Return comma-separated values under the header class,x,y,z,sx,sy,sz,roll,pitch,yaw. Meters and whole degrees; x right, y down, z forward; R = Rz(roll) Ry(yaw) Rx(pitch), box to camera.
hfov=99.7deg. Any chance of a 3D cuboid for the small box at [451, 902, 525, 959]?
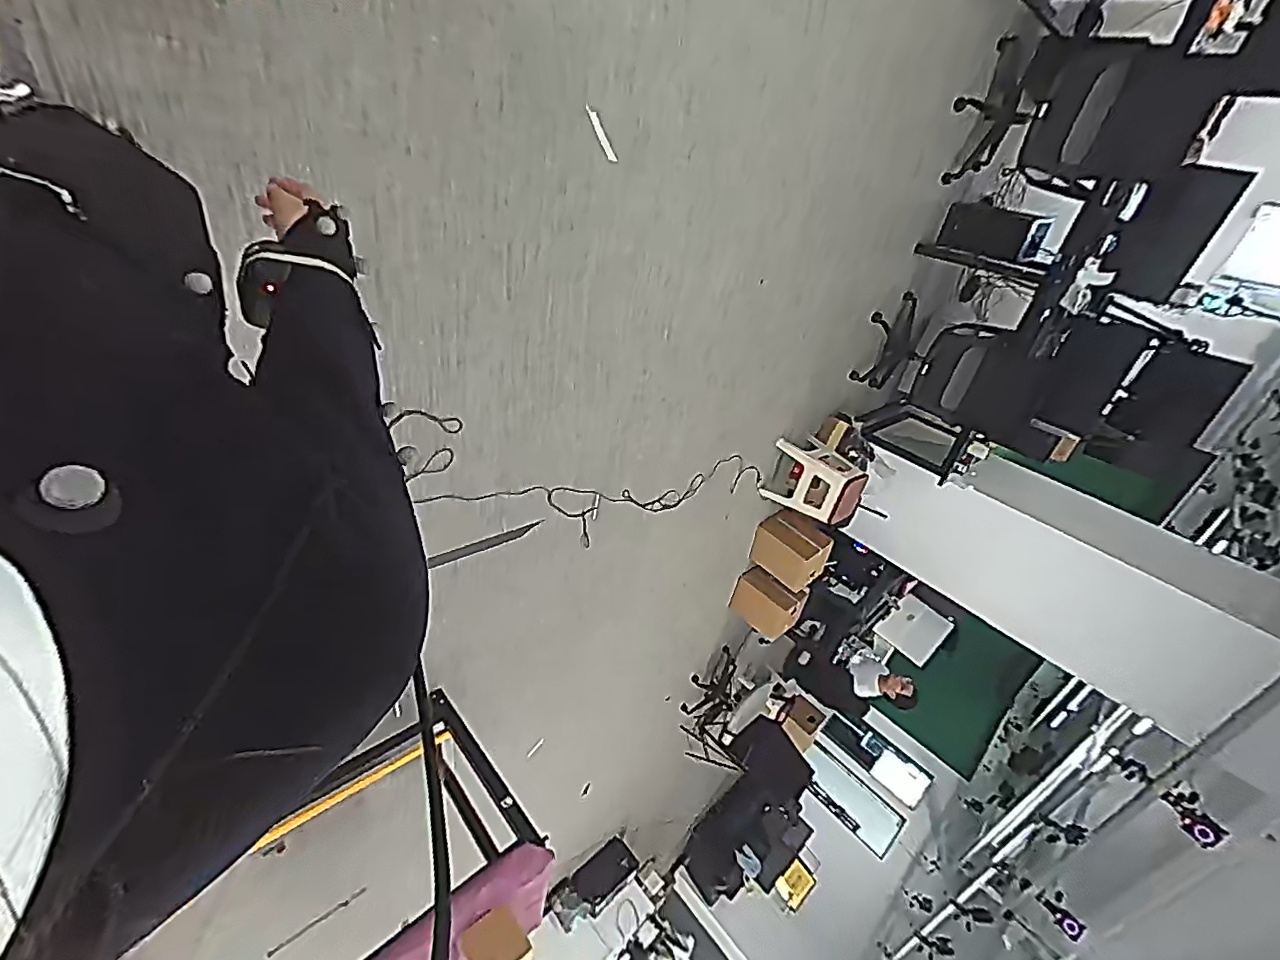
class,x,y,z,sx,sy,sz,roll,pitch,yaw
small box,-0.480,1.486,1.689,0.179,0.176,0.168,-19,133,-37
